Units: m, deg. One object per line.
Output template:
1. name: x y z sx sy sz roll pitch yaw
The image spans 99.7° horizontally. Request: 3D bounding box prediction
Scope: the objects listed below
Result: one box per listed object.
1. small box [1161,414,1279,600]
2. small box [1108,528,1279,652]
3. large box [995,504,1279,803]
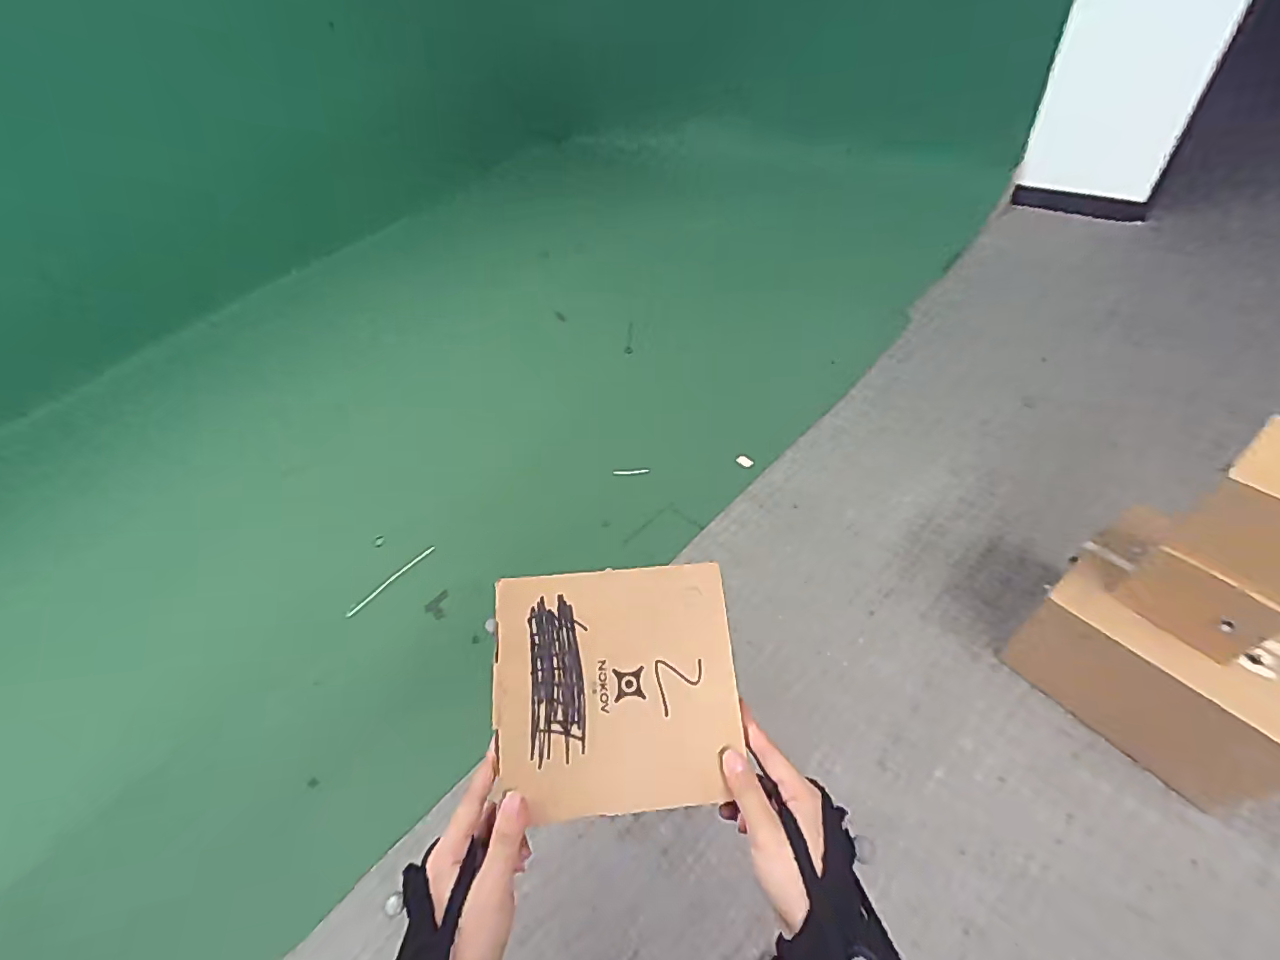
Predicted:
1. small box: 0.922 0.043 0.778 0.168 0.176 0.179 -36 53 -18
2. small box: 0.944 0.157 0.893 0.168 0.176 0.179 -35 51 -17
3. large box: 1.018 0.327 1.055 0.320 0.320 0.408 -38 54 -16
